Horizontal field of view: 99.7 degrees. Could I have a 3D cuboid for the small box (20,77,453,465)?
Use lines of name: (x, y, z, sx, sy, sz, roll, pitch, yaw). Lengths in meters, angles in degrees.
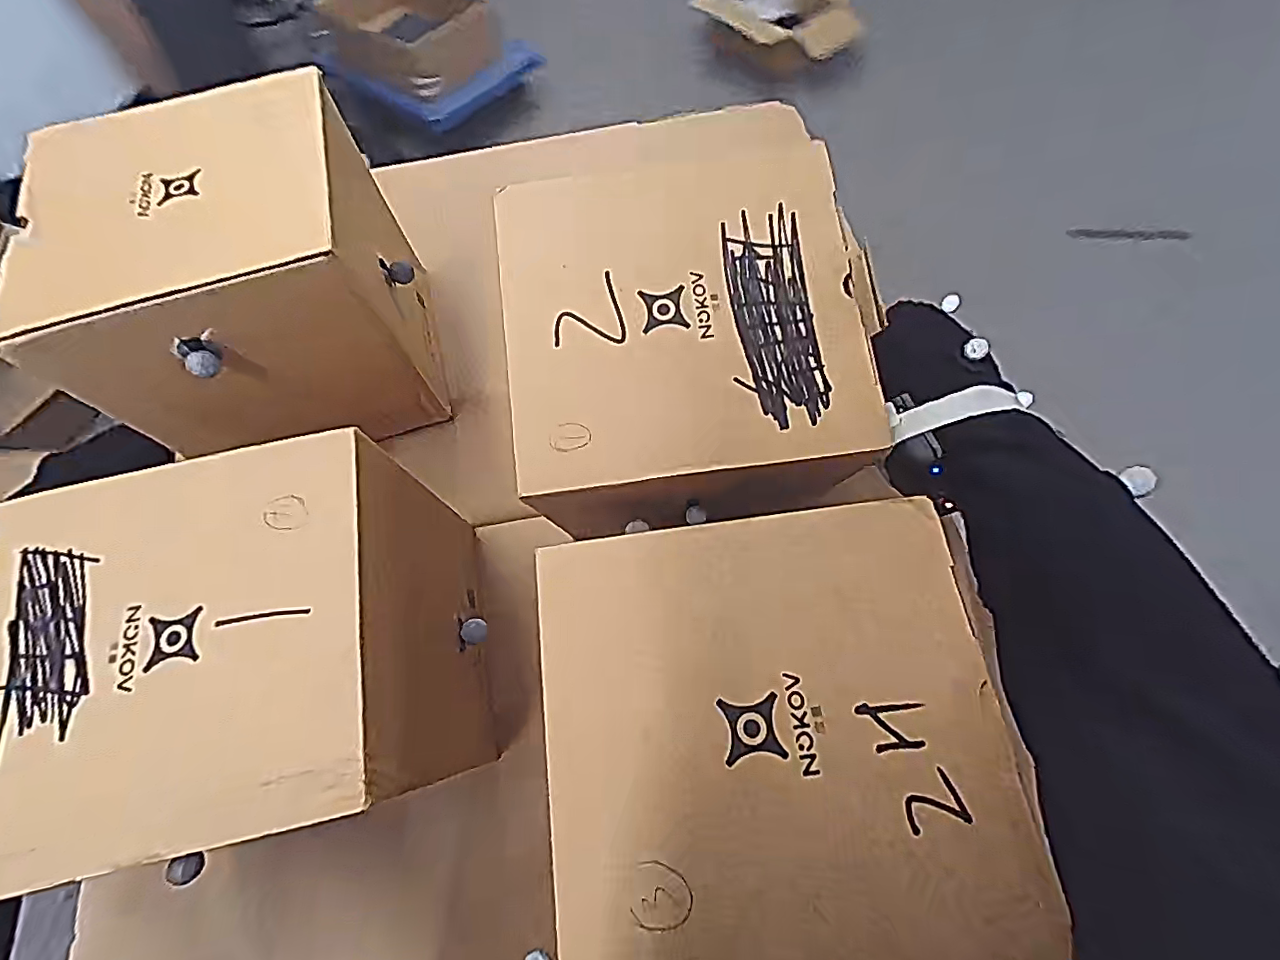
small box: (-0.247, -0.132, 0.383, 0.179, 0.176, 0.168, -16, 66, -2)
